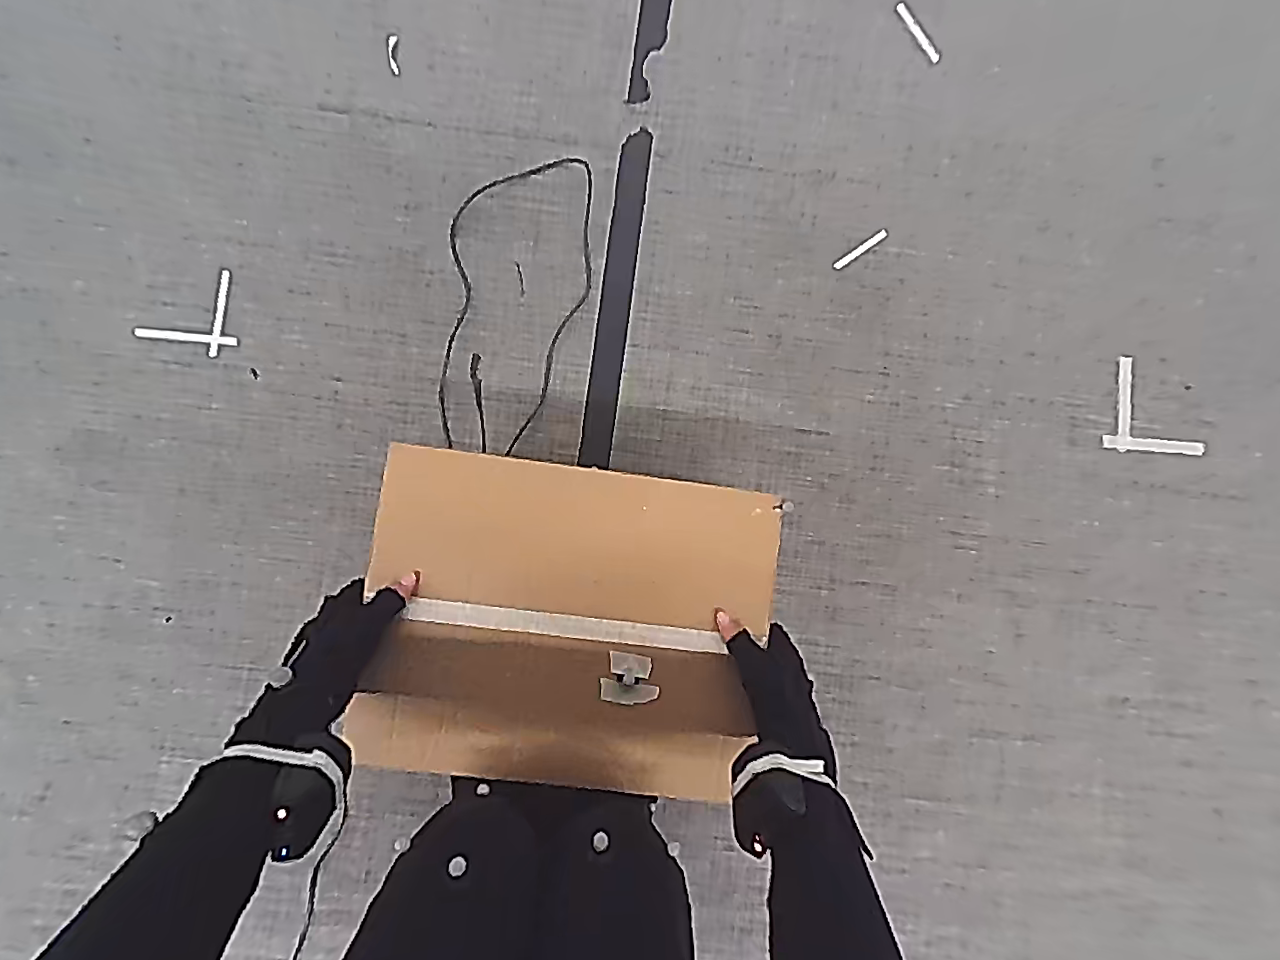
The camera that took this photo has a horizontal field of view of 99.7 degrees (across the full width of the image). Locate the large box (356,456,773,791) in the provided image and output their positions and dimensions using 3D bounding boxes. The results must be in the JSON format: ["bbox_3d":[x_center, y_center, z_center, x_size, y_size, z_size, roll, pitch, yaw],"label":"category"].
[{"bbox_3d":[-0.081,0.161,0.703,0.408,0.320,0.320,7,86,-4],"label":"large box"}]
